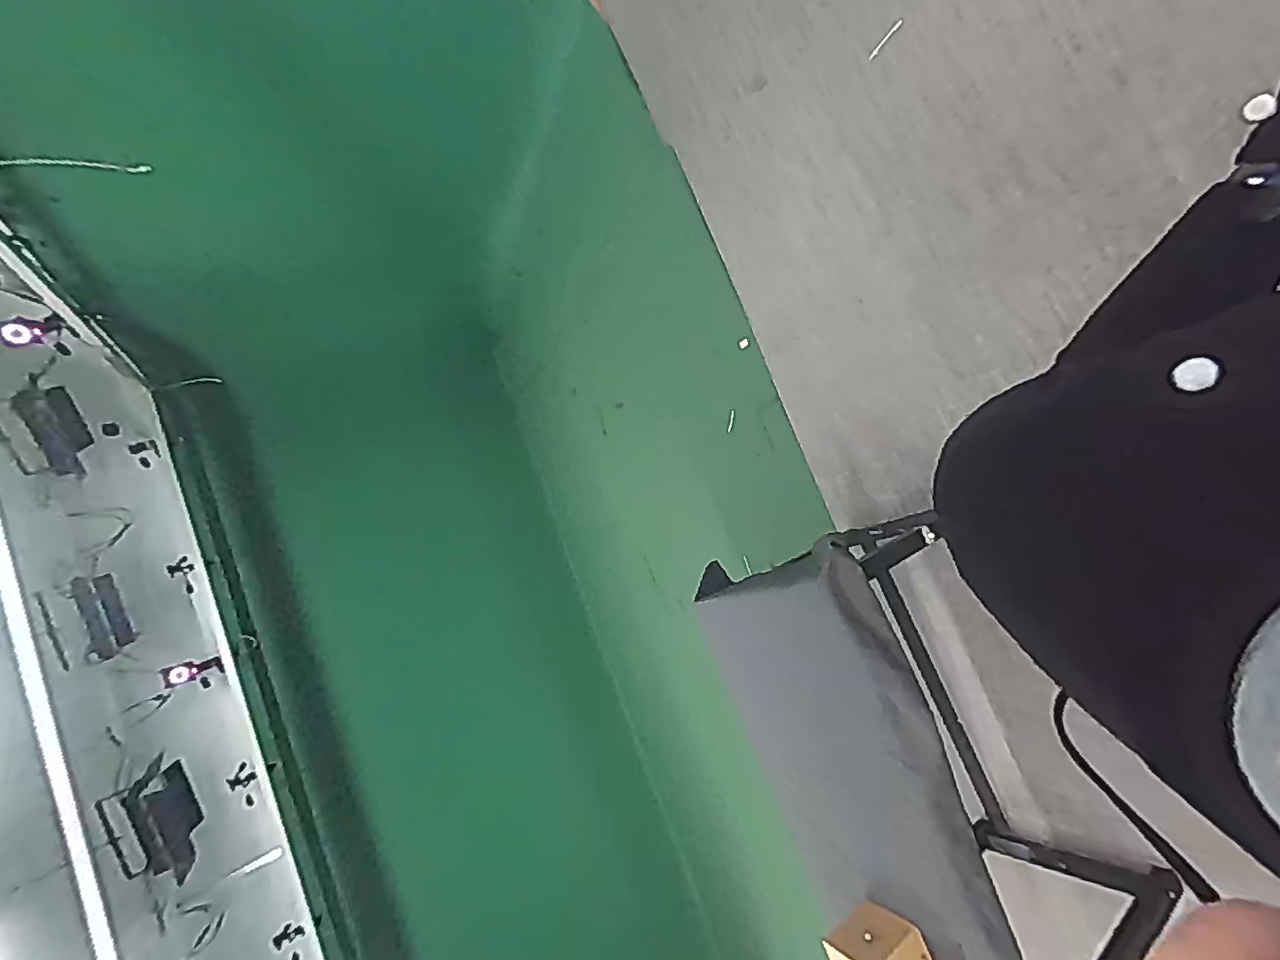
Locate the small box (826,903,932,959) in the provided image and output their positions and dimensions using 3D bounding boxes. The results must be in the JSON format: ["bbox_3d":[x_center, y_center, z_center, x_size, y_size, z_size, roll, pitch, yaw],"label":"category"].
[{"bbox_3d":[0.603,1.193,1.326,0.179,0.176,0.168,-38,73,60],"label":"small box"}]
